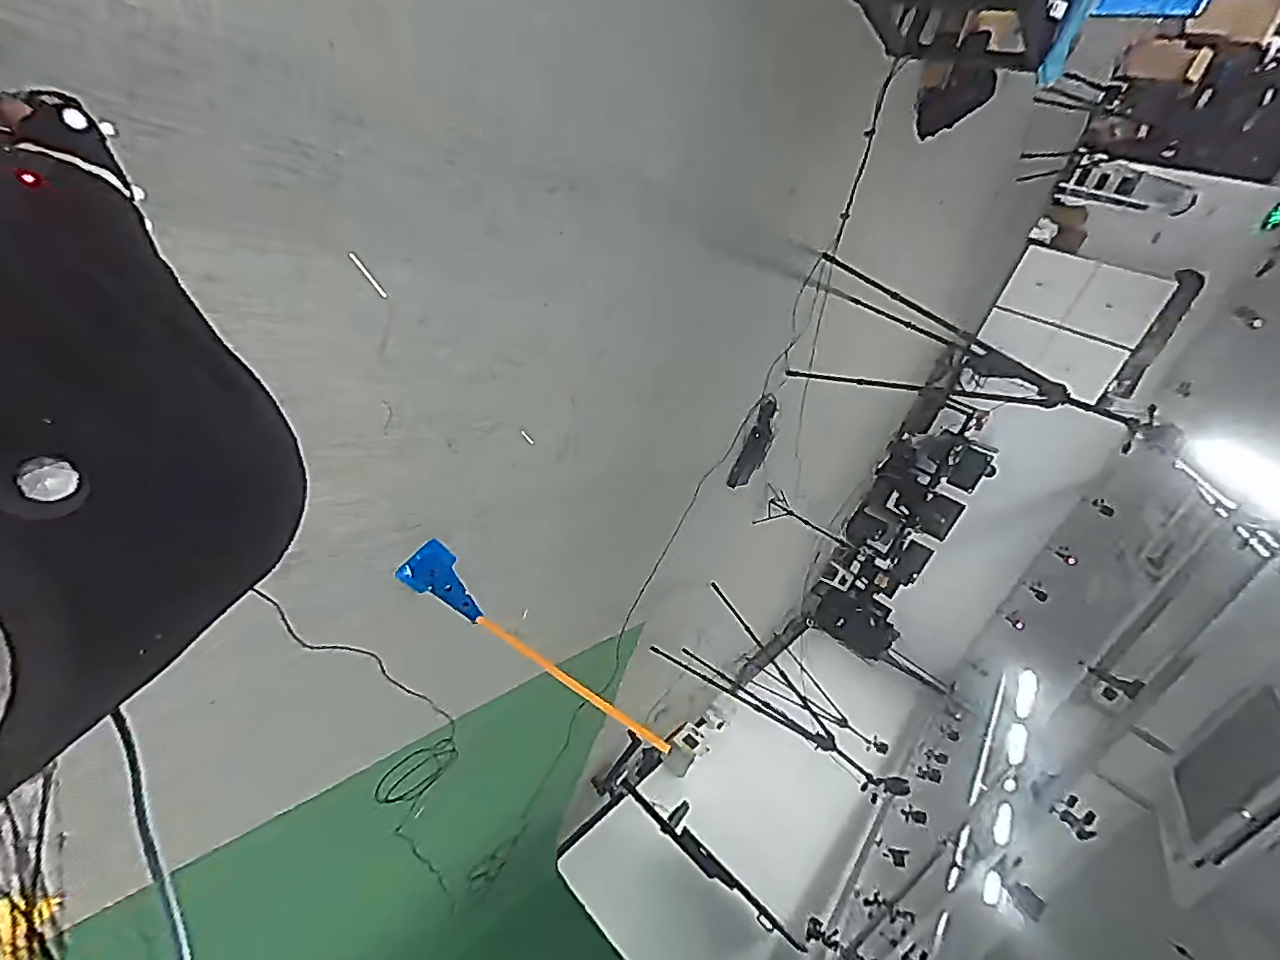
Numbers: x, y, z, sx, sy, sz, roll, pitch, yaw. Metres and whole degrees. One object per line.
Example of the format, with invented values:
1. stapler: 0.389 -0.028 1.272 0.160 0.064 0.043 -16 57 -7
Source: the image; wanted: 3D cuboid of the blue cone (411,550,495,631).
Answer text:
1. blue cone: -0.681 0.449 2.064 0.193 0.380 0.192 -48 148 -16
